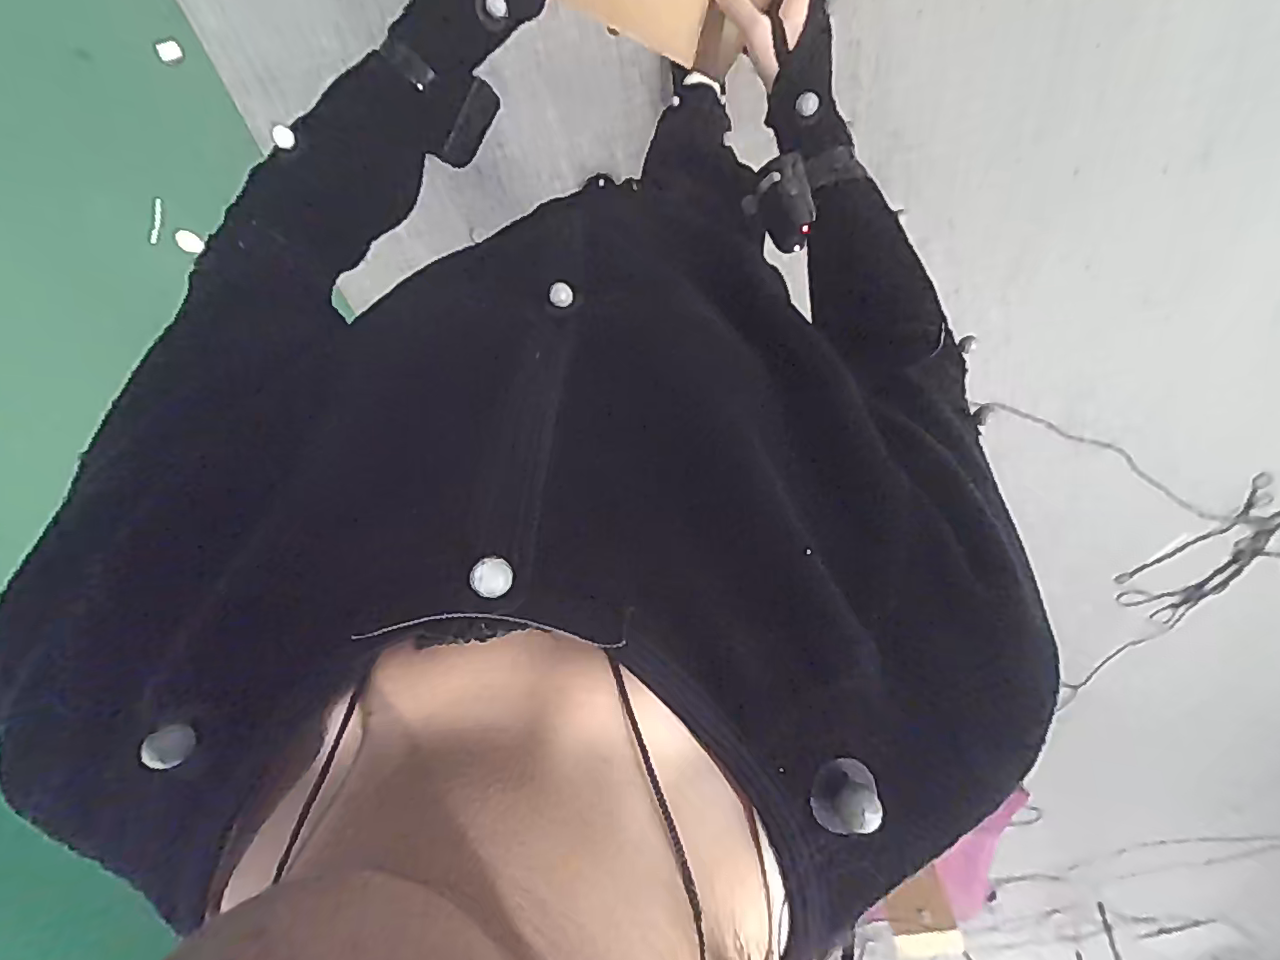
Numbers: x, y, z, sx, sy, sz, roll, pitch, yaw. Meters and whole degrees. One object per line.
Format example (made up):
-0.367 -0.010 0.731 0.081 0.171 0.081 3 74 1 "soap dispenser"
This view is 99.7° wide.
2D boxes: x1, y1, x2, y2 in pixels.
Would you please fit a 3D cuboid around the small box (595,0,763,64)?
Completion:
0.023 -0.474 0.400 0.179 0.176 0.168 1 155 -31 "small box"

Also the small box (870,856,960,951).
0.772 1.190 1.525 0.179 0.176 0.168 -15 122 12 "small box"
